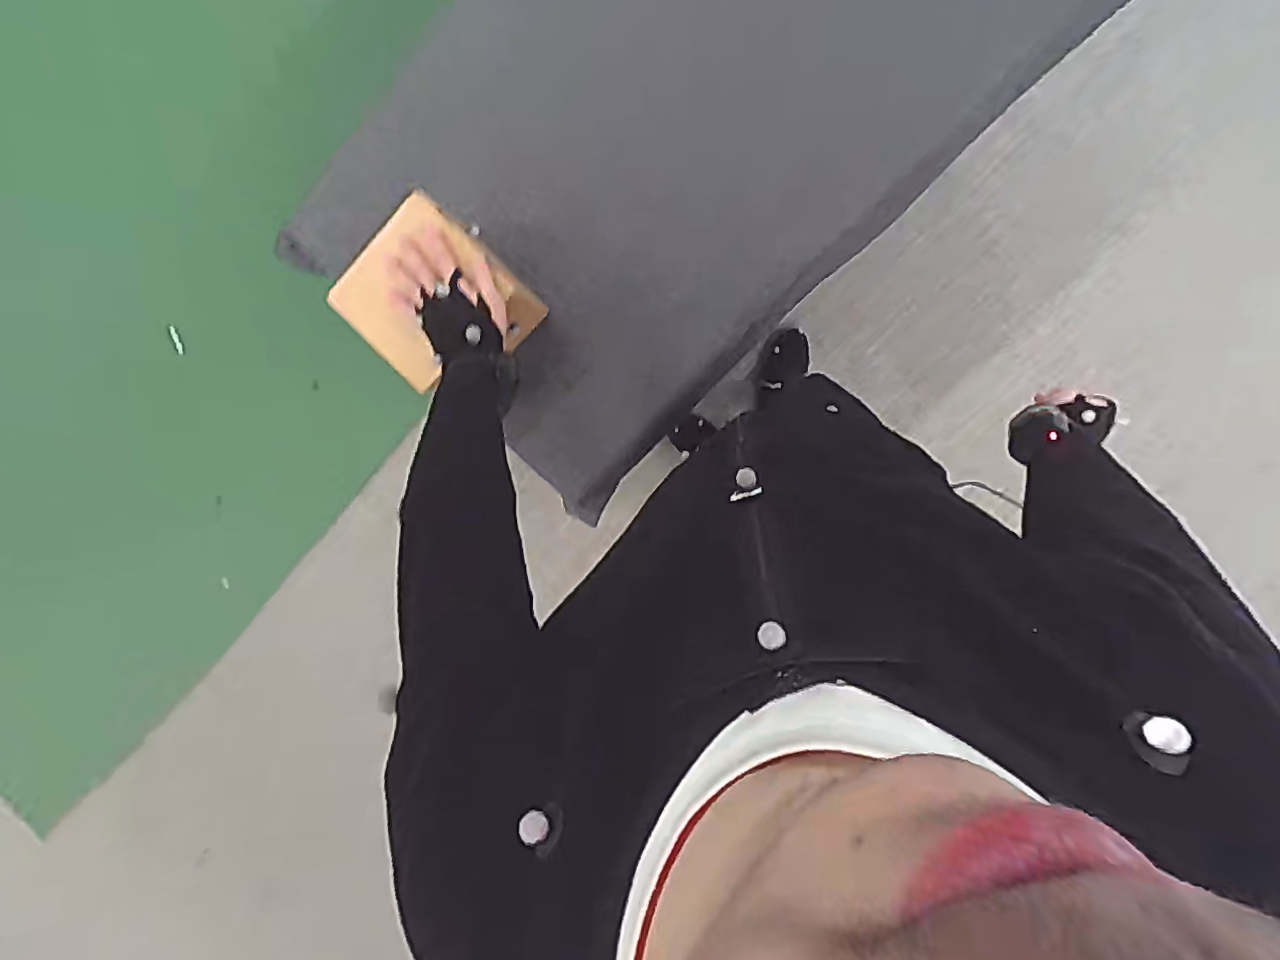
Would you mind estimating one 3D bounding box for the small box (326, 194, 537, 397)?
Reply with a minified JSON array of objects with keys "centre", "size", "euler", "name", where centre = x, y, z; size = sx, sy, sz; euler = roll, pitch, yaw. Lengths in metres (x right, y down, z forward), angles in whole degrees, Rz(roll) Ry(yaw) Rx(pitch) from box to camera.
[{"centre":[-0.257,-0.228,0.720],"size":[0.179,0.176,0.168],"euler":[-43,92,8],"name":"small box"}]
